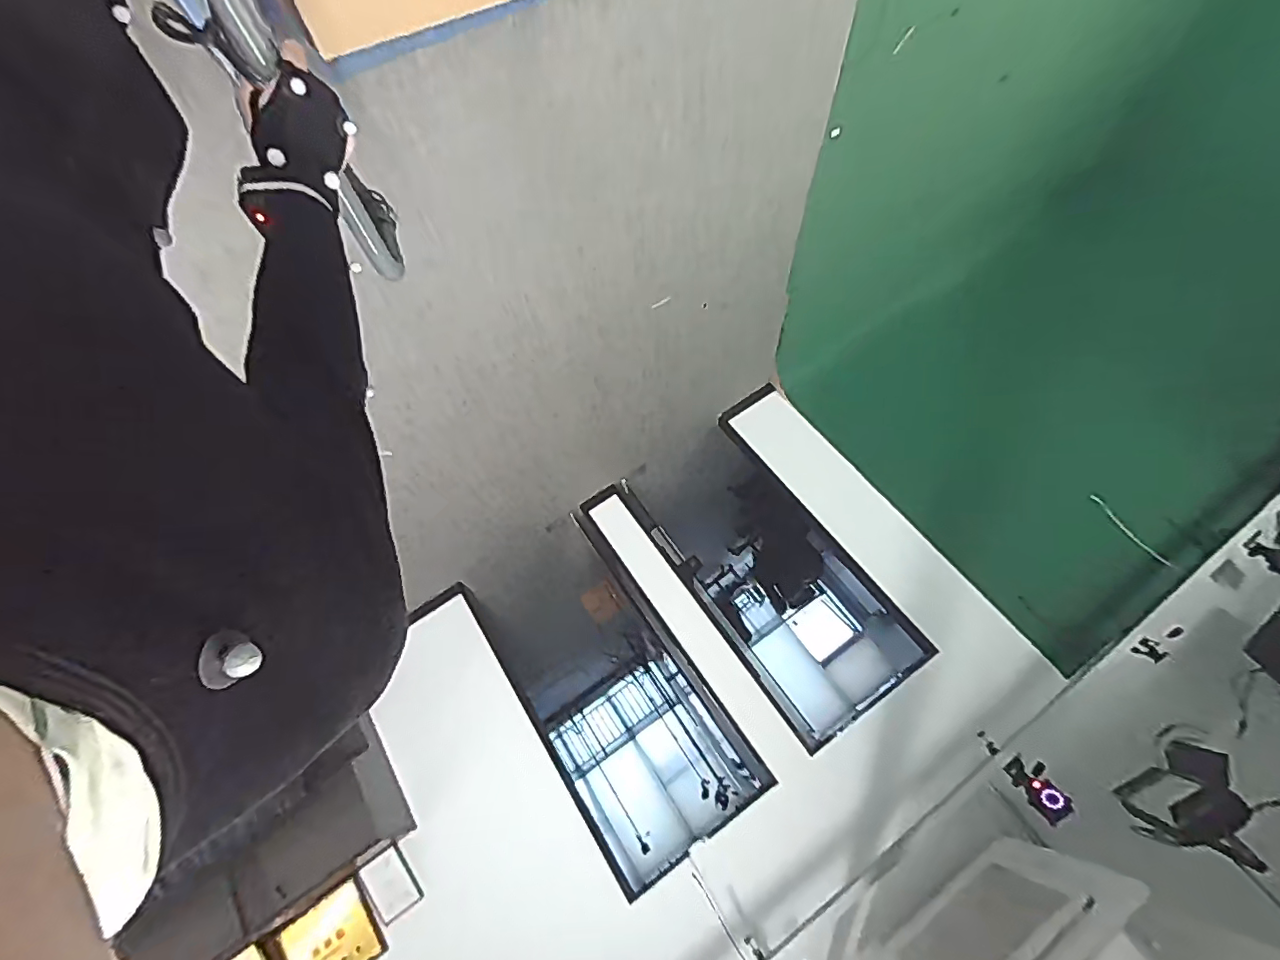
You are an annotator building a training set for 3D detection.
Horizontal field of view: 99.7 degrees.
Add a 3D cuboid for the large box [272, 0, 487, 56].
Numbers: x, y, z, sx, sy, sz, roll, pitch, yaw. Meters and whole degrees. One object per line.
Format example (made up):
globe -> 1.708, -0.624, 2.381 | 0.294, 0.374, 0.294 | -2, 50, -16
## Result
large box -> -0.428, -0.931, 0.805 | 0.408, 0.320, 0.320 | -32, 157, -14
